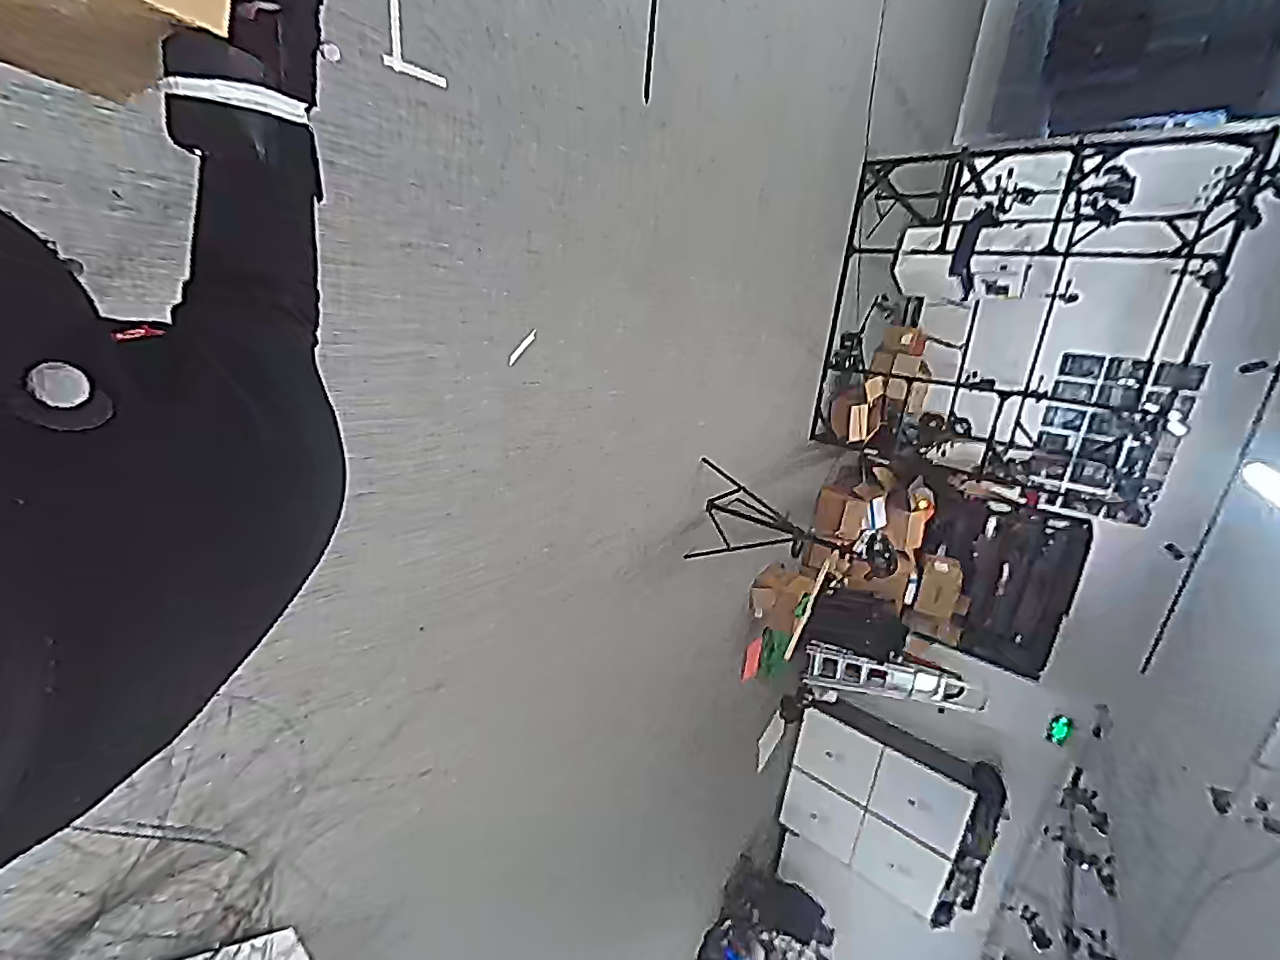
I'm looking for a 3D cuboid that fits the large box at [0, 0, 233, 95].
[{"bbox_3d":[-0.474,-0.458,0.245,0.408,0.320,0.320,-5,110,-53],"label":"large box"}]
